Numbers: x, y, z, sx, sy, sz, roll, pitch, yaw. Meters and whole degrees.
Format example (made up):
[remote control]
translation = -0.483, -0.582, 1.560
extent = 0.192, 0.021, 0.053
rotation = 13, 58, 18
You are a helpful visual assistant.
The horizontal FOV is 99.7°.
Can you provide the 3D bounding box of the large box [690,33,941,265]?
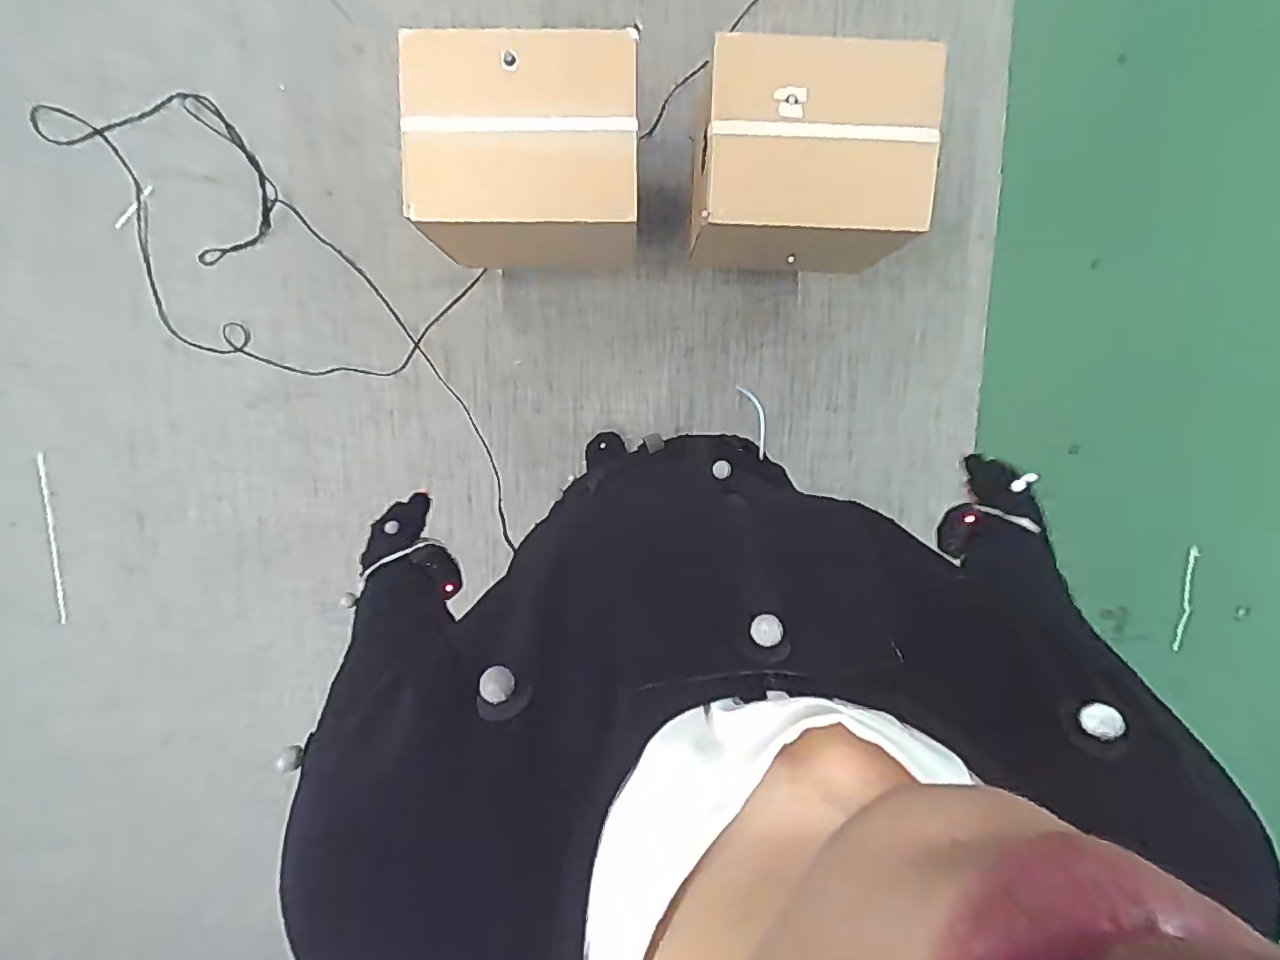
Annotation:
[large box]
translation = 0.323, -0.639, 1.104
extent = 0.408, 0.320, 0.320
rotation = 2, 97, -1
